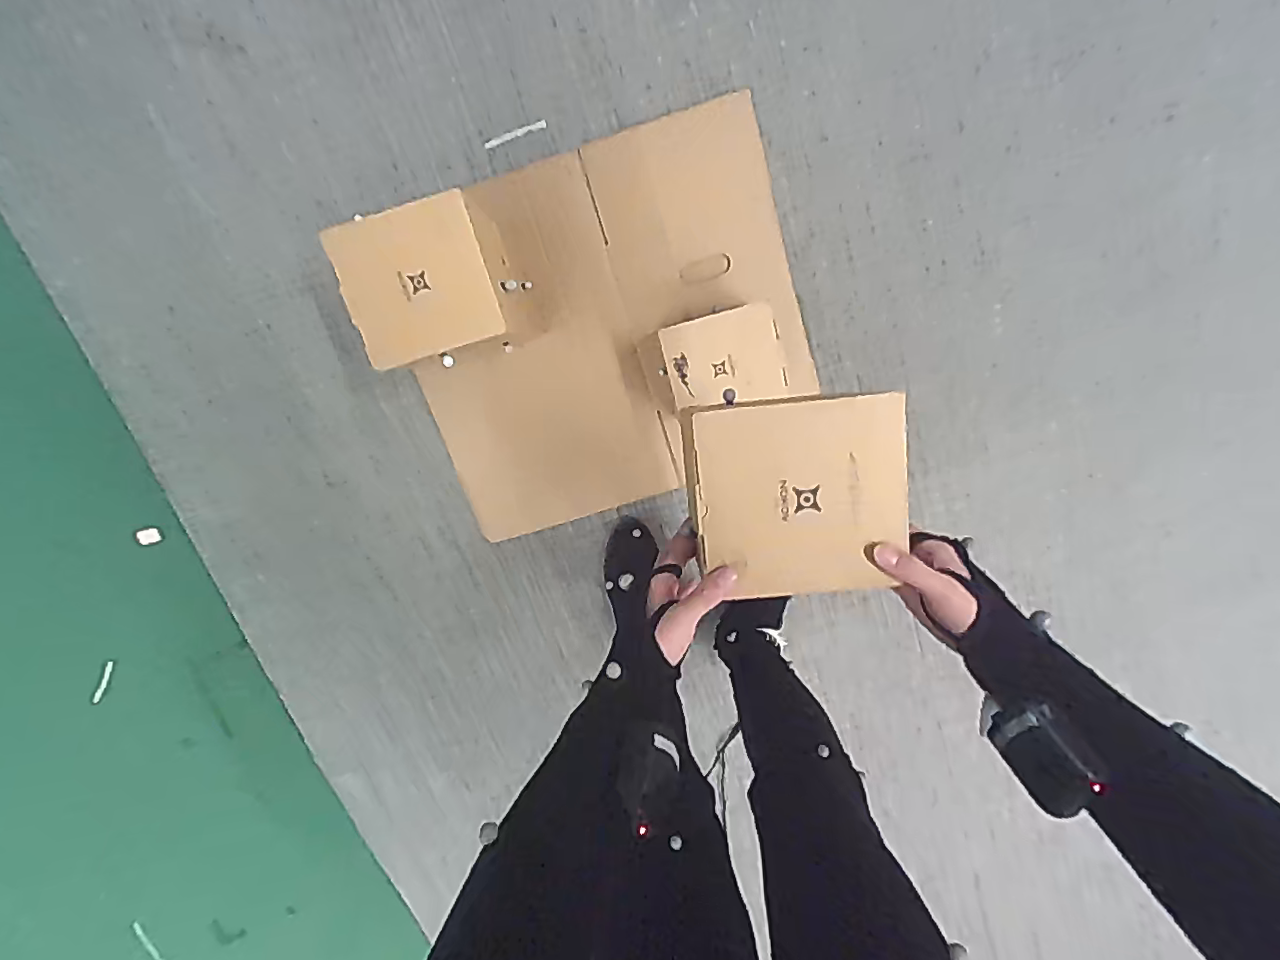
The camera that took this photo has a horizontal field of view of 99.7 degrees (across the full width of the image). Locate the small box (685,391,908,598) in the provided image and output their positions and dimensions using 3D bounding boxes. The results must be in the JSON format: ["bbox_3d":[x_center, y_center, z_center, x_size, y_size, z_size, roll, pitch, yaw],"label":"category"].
[{"bbox_3d":[0.137,0.004,0.531,0.179,0.176,0.168,-5,99,2],"label":"small box"}]

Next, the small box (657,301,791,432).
[{"bbox_3d":[0.132,-0.191,0.897,0.179,0.176,0.168,-14,104,4],"label":"small box"}]

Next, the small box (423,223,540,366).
[{"bbox_3d":[-0.269,-0.290,0.864,0.179,0.176,0.168,-16,104,4],"label":"small box"}]

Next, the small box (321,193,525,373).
[{"bbox_3d":[-0.262,-0.249,0.708,0.179,0.176,0.168,-16,105,4],"label":"small box"}]
